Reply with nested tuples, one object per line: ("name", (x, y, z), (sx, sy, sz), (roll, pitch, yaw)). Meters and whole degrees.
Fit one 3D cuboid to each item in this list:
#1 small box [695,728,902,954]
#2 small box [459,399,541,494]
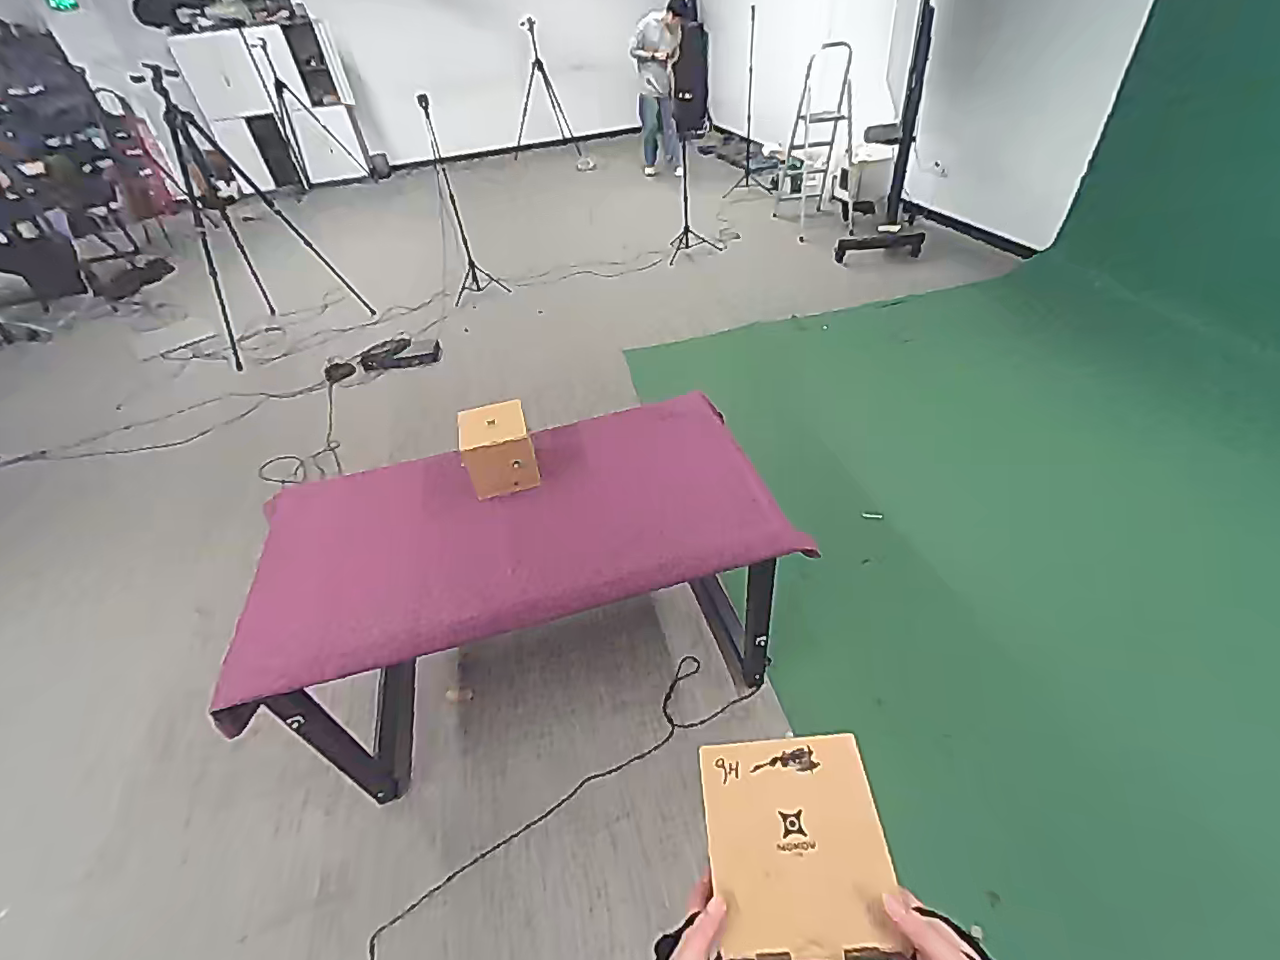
("small box", (0.155, 0.386, 0.574), (0.168, 0.176, 0.179), (-8, 46, 6))
("small box", (-0.363, -0.080, 1.410), (0.168, 0.176, 0.179), (-14, 42, -8))
